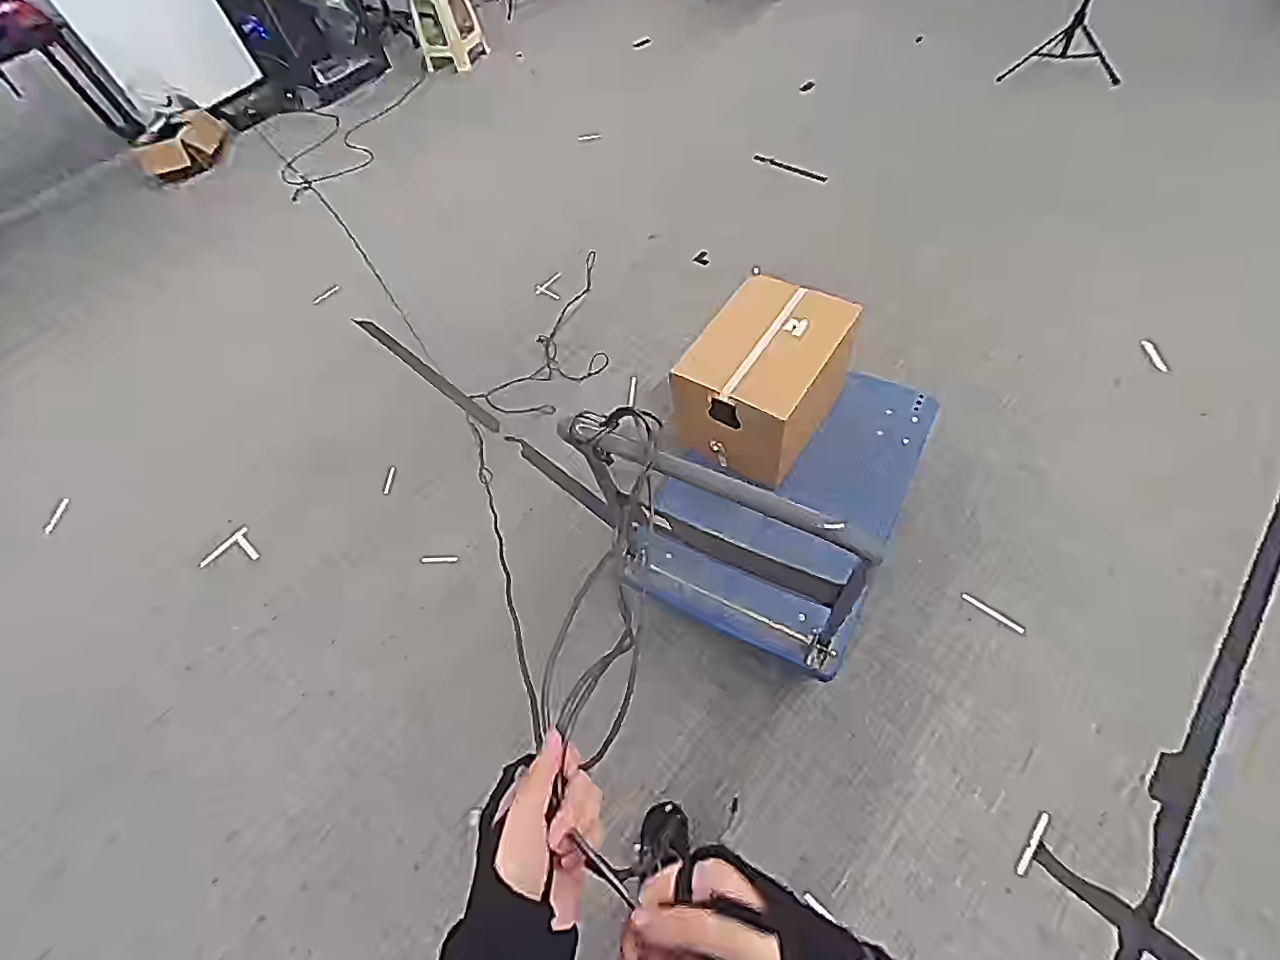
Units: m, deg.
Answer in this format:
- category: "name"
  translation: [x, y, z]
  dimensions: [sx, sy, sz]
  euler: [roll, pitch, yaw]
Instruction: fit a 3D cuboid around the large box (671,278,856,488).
- category: "large box"
  translation: [0.324, -0.257, 1.443]
  dimensions: [0.320, 0.320, 0.408]
  euler: [28, 66, 23]
